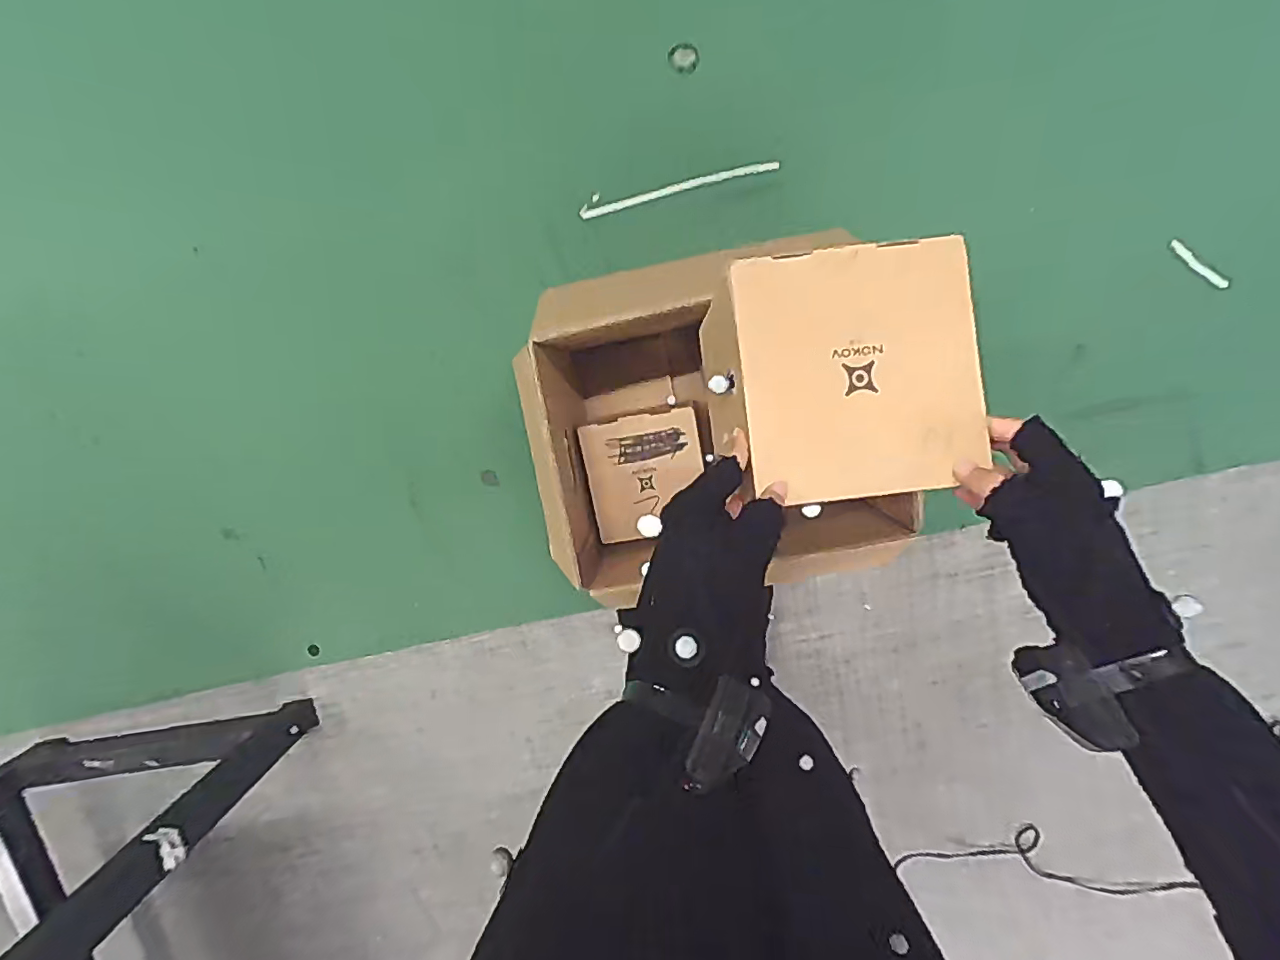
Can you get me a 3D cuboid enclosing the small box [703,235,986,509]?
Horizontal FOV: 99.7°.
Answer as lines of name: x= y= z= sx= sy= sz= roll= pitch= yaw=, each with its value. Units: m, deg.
small box: x=0.149 y=-0.074 z=0.452 sx=0.168 sy=0.176 sz=0.179 roll=-7 pitch=88 yaw=0
